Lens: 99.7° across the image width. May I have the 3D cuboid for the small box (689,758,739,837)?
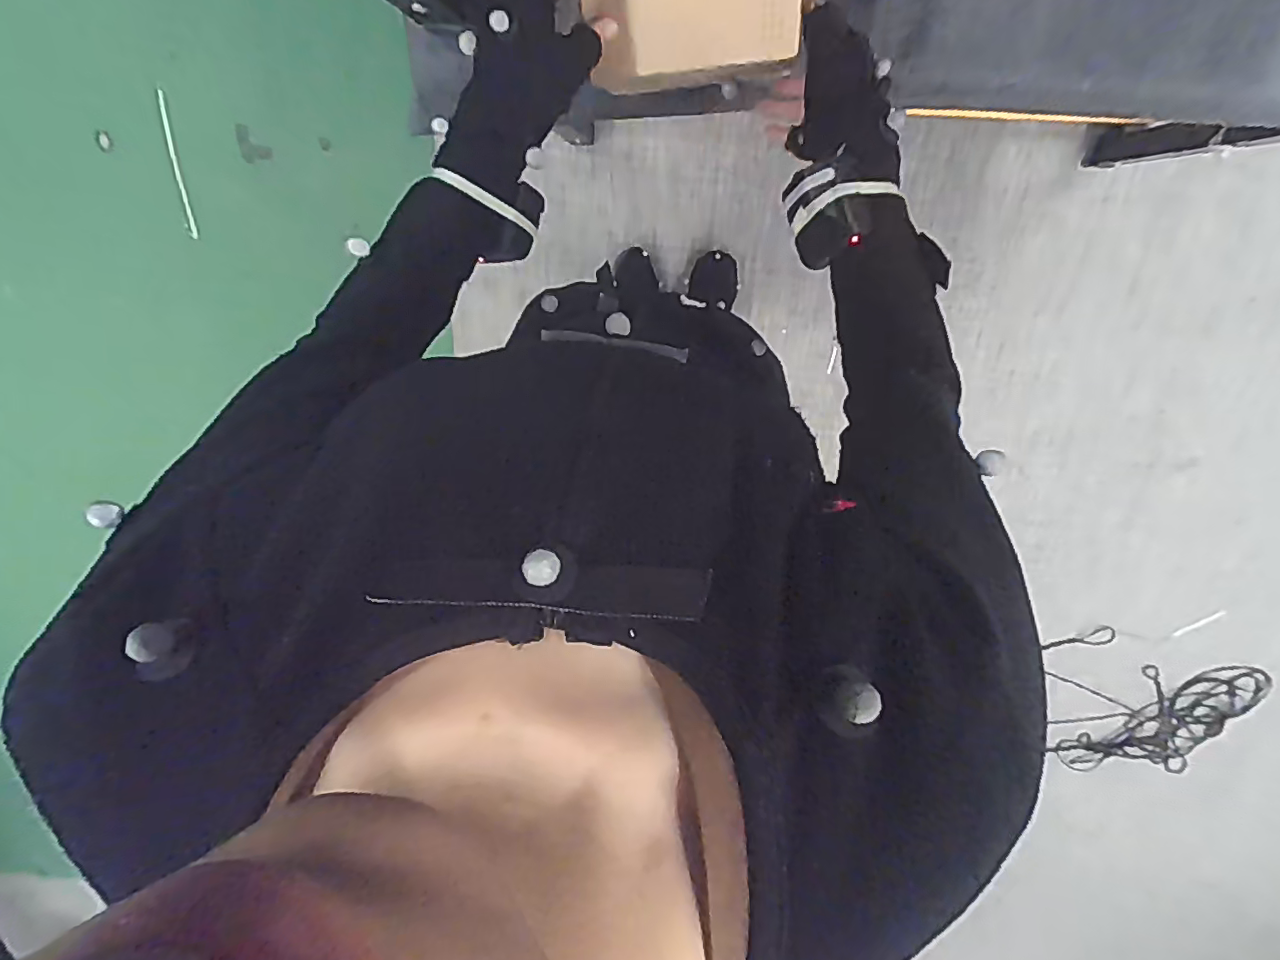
[{"bbox_3d":[0.263,1.141,1.947,0.168,0.176,0.179,2,113,4],"label":"small box"}]
